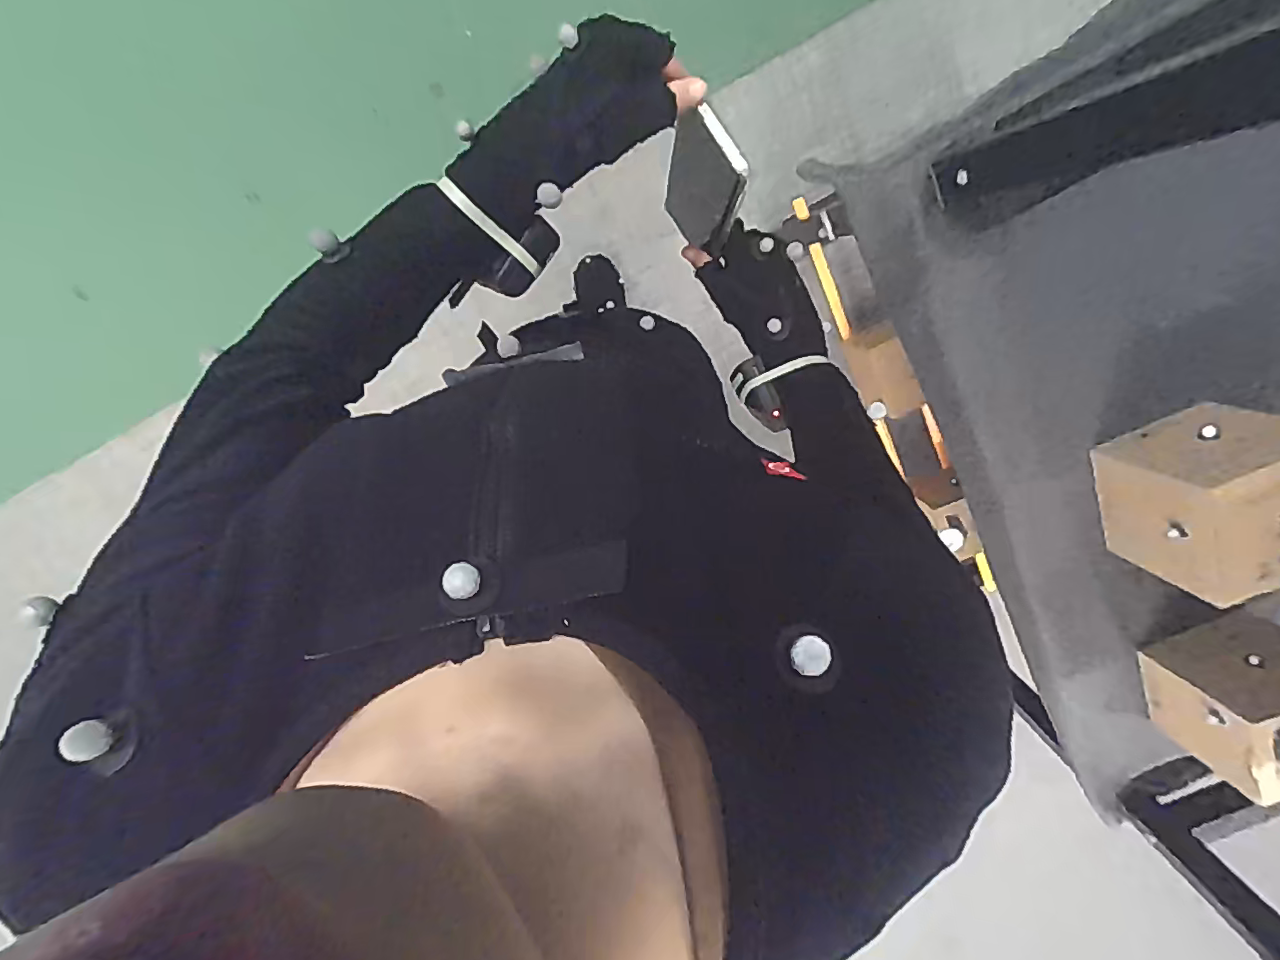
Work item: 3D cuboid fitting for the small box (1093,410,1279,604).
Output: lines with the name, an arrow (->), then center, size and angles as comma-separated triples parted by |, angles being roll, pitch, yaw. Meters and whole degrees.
small box -> 0.740, 0.022, 0.703 | 0.168, 0.176, 0.179 | -24, 108, 6

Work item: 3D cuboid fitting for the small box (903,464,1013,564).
small box -> 0.803, 0.081, 1.385 | 0.179, 0.176, 0.168 | -24, 108, 6
